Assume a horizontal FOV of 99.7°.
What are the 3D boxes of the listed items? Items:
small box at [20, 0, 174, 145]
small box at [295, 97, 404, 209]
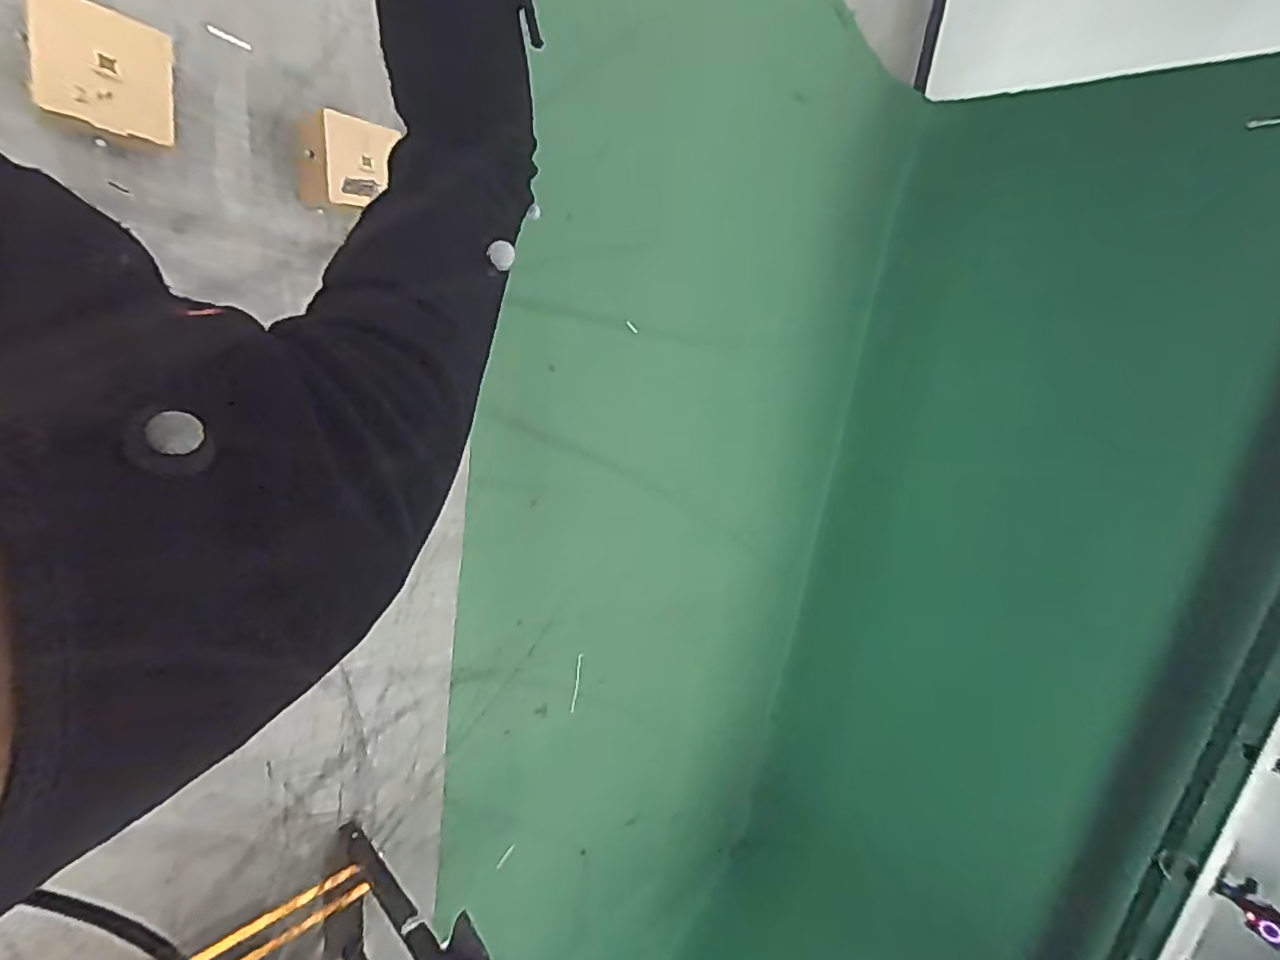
[{"bbox_3d":[-0.907,-0.693,0.906,0.168,0.176,0.179,-6,110,-49],"label":"small box"},{"bbox_3d":[-0.652,-0.720,1.216,0.168,0.176,0.179,-14,115,-48],"label":"small box"}]
